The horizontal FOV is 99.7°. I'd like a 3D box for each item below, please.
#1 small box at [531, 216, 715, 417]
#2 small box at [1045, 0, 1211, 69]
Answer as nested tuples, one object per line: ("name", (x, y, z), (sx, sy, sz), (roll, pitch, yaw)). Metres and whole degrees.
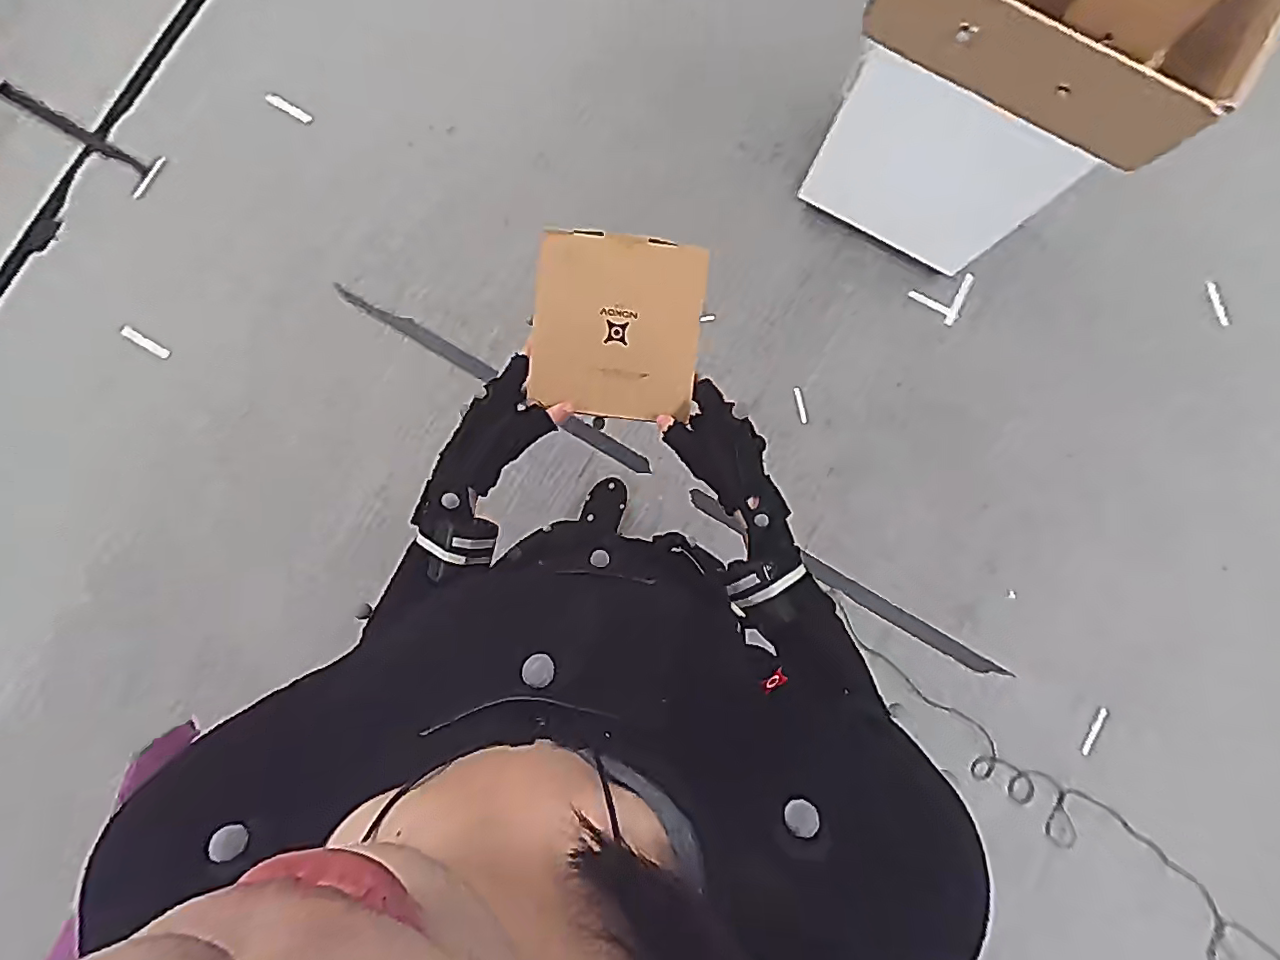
("small box", (-0.021, -0.167, 0.604), (0.168, 0.176, 0.179), (6, 98, -3))
("small box", (0.867, -0.867, 0.933), (0.179, 0.176, 0.168), (29, 90, 2))
